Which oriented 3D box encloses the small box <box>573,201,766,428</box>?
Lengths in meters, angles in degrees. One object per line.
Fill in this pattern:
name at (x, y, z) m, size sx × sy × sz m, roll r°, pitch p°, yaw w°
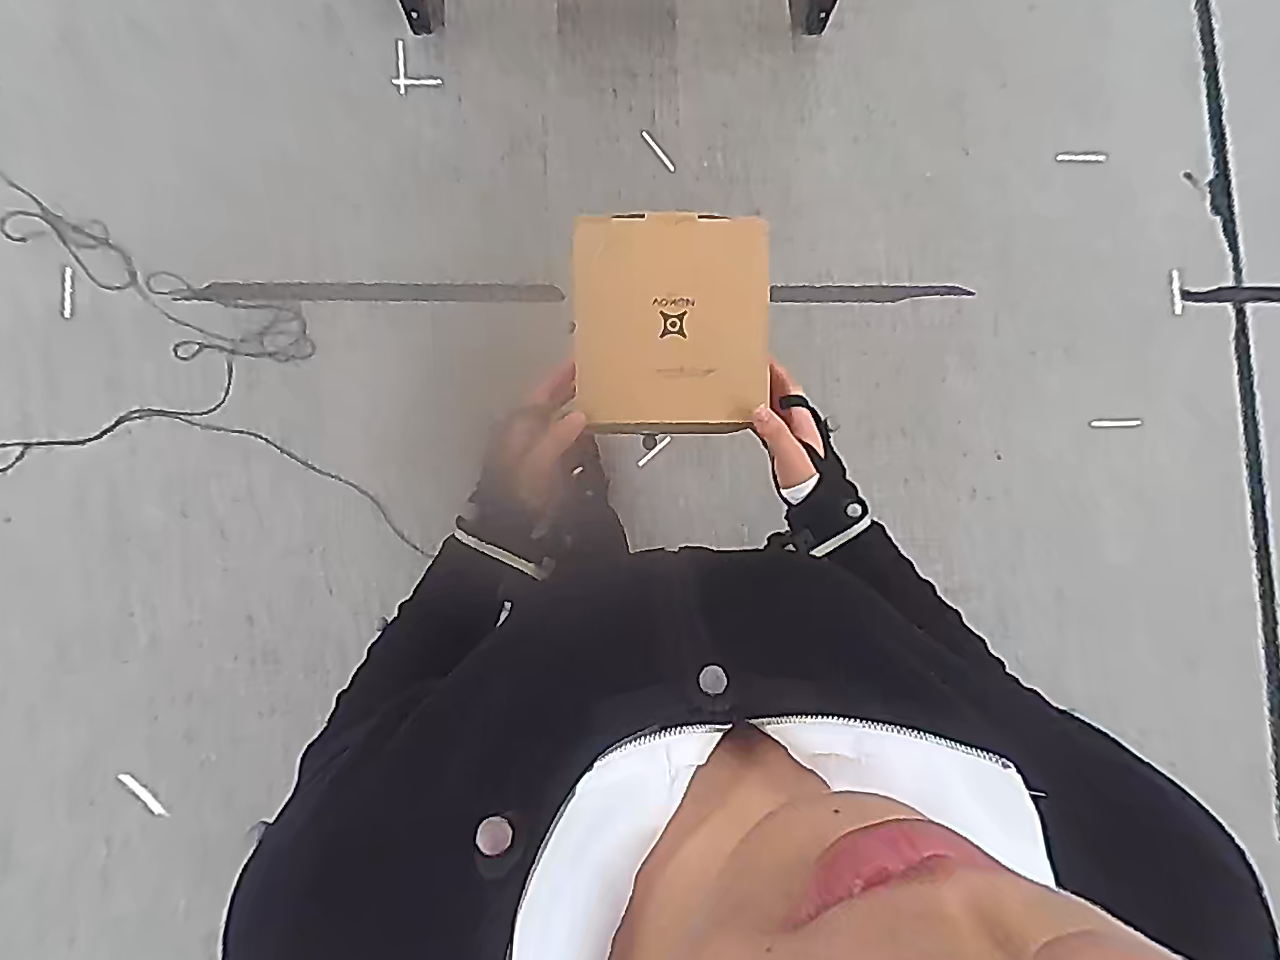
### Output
small box at (0.021, -0.147, 0.534) m, size 0.168 × 0.176 × 0.179 m, roll -1°, pitch 91°, yaw -2°
